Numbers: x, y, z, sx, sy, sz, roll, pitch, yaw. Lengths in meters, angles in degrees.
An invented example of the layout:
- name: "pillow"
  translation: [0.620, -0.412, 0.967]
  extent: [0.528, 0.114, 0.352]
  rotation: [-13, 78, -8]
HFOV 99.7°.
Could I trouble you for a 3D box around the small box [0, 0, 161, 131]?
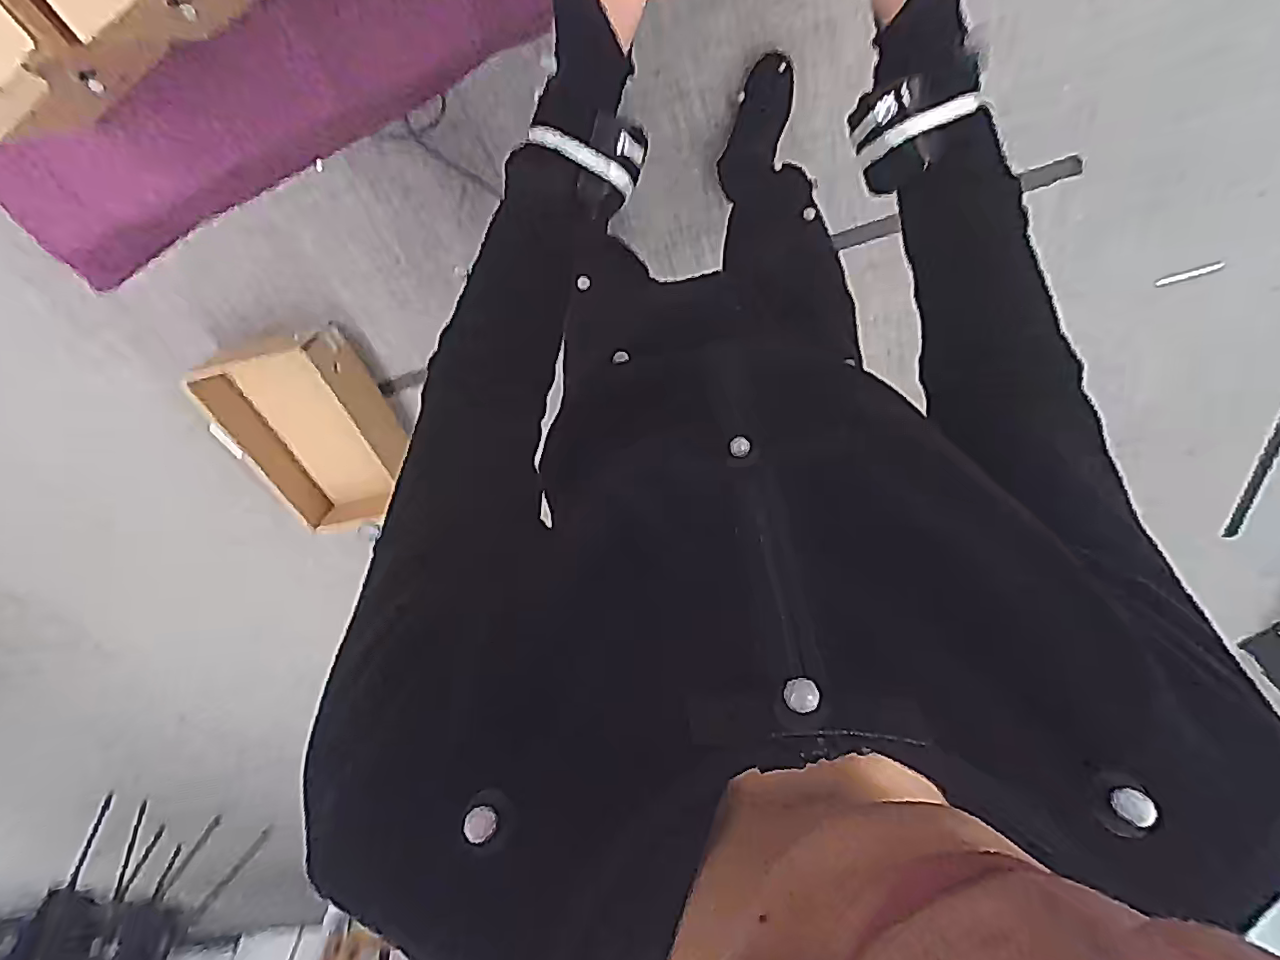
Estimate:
- name: "small box"
  translation: [-0.613, -0.453, 0.495]
  extent: [0.168, 0.176, 0.179]
  rotation: [-22, 126, 17]
